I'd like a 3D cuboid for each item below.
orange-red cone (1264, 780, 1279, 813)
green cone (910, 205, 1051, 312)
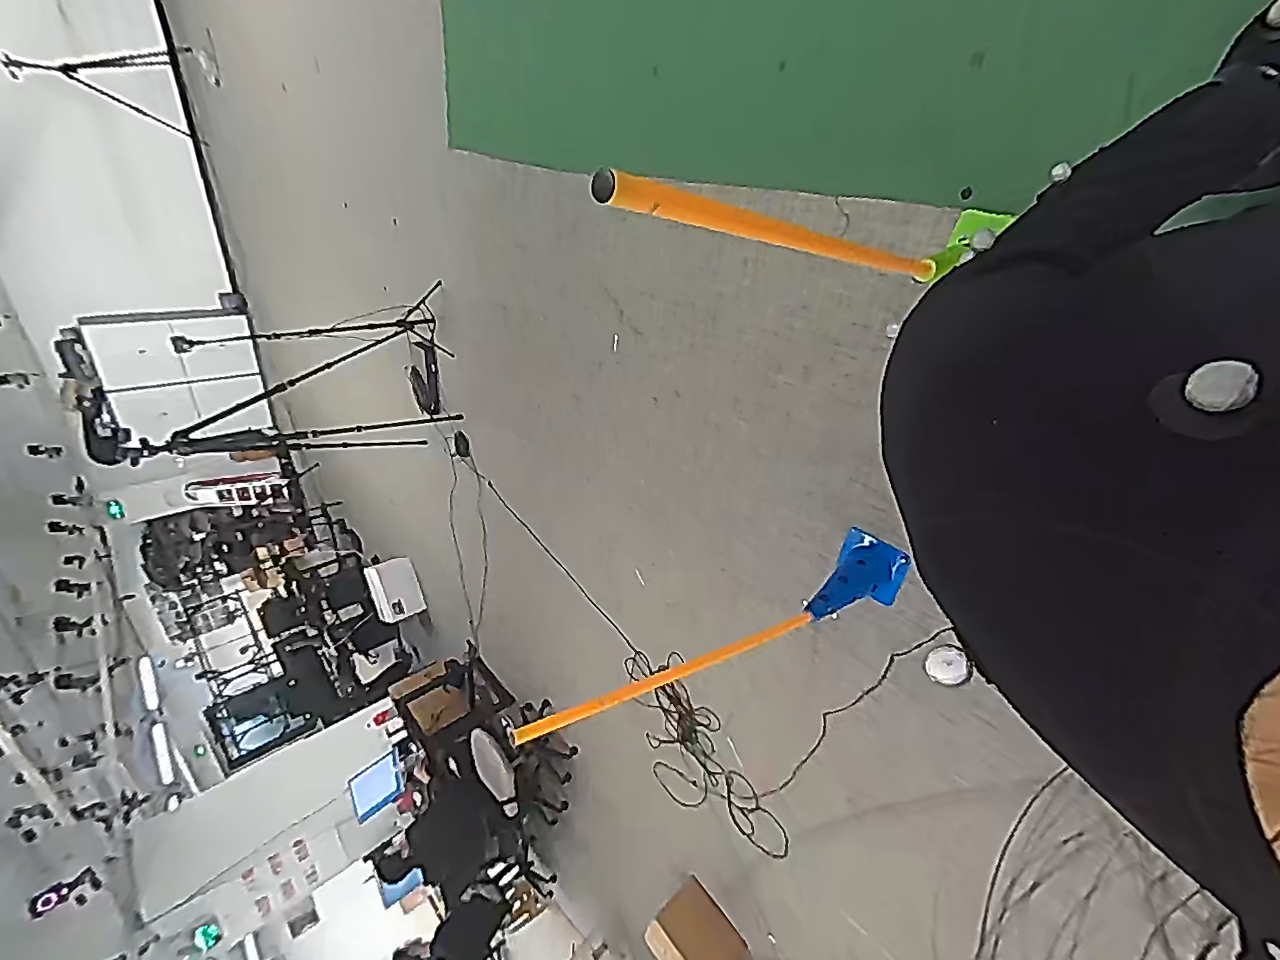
[{"bbox_3d":[1.280,0.691,0.954,0.199,0.360,0.198,32,128,39],"label":"orange-red cone"},{"bbox_3d":[0.670,-0.464,1.139,0.202,0.368,0.200,36,131,35],"label":"green cone"}]
